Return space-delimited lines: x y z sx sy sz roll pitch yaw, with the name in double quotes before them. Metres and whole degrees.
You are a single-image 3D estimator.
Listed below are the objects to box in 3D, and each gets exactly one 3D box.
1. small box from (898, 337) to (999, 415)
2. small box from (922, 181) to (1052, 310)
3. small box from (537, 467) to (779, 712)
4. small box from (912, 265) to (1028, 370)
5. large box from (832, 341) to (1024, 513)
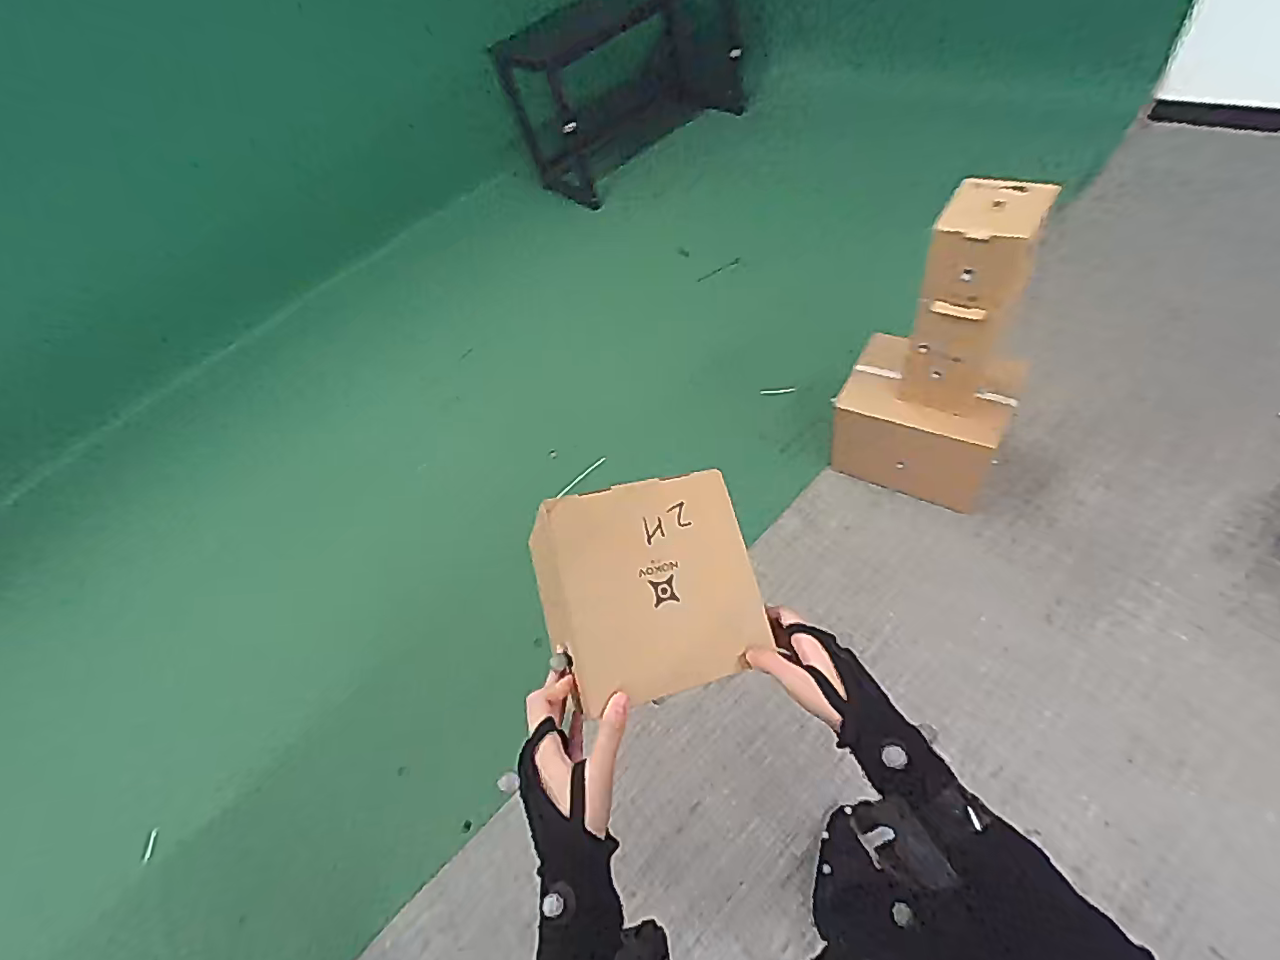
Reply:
"small box" 0.772 -0.289 1.364 0.179 0.176 0.168 25 67 31
"small box" 0.697 -0.477 1.106 0.168 0.176 0.179 26 68 31
"small box" 0.001 0.105 0.520 0.168 0.176 0.179 -10 73 -19
"small box" 0.741 -0.381 1.232 0.168 0.176 0.179 27 68 32
"large box" 0.812 -0.158 1.568 0.408 0.320 0.320 21 63 31
